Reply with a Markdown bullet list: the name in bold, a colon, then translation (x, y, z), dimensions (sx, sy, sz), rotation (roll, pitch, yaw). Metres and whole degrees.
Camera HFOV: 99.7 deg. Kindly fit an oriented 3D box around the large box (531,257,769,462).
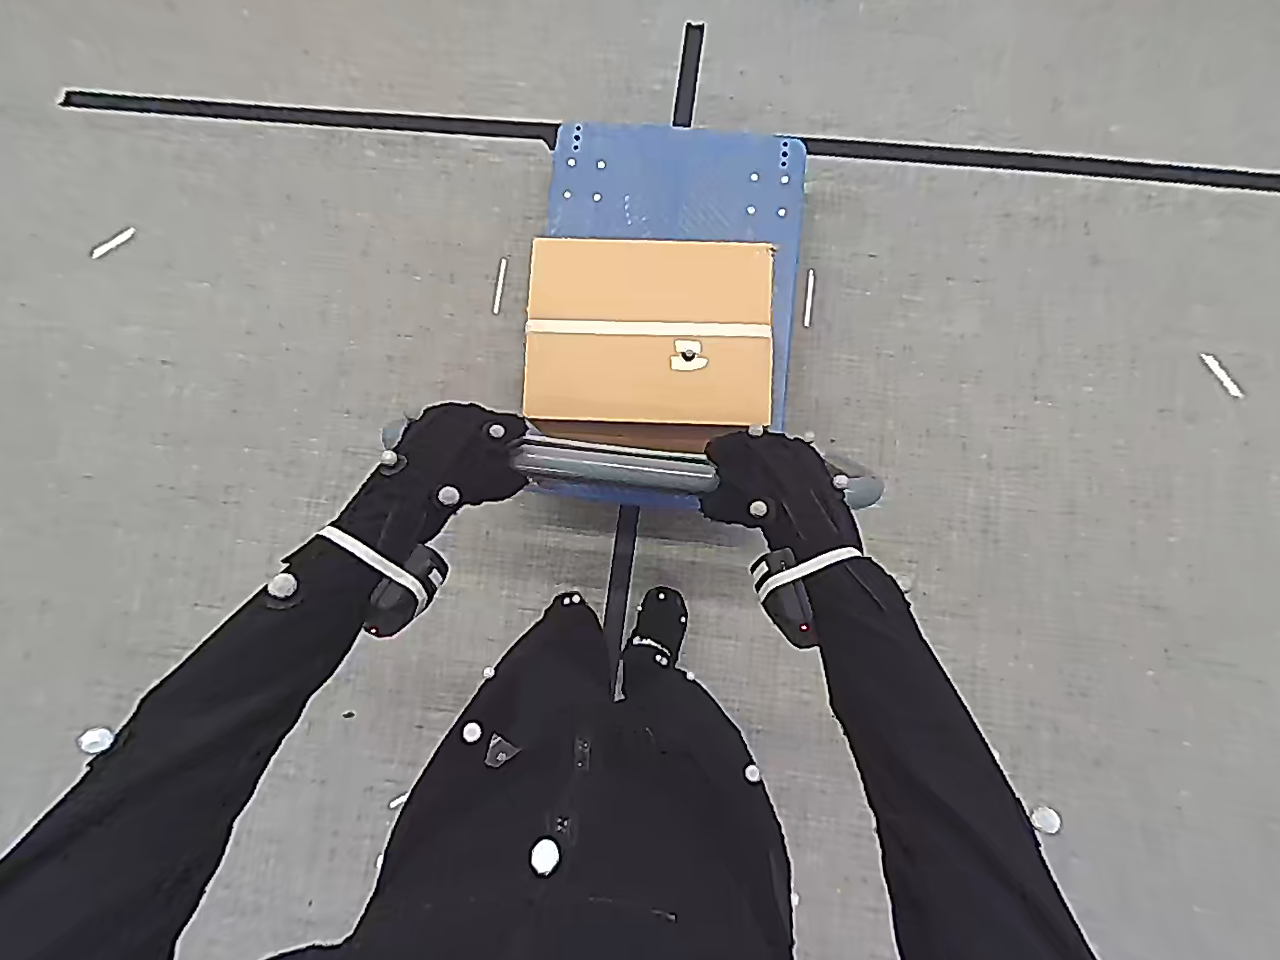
- **large box**: translation (0.020, -0.211, 1.062), dimensions (0.408, 0.320, 0.320), rotation (2, 84, 1)
